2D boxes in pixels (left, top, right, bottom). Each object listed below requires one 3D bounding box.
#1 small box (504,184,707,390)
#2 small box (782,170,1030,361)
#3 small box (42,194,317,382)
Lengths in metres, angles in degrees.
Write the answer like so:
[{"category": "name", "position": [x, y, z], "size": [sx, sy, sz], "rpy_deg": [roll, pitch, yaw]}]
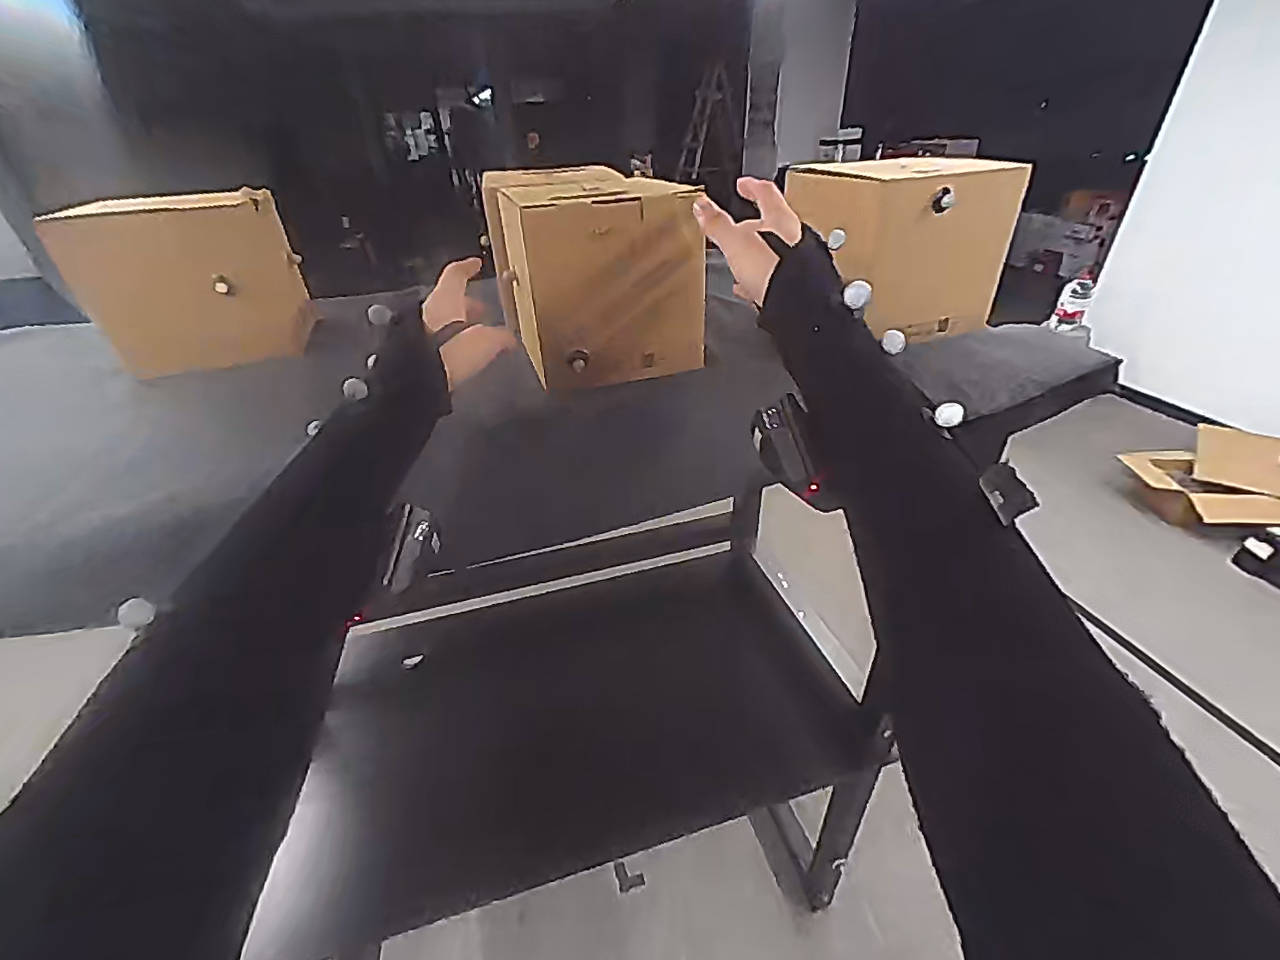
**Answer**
[{"category": "small box", "position": [-0.038, -0.202, 0.567], "size": [0.168, 0.176, 0.179], "rpy_deg": [-12, 34, -14]}, {"category": "small box", "position": [0.276, -0.246, 0.610], "size": [0.168, 0.176, 0.179], "rpy_deg": [-12, 34, -13]}, {"category": "small box", "position": [-0.510, -0.231, 0.641], "size": [0.179, 0.176, 0.168], "rpy_deg": [-13, 35, -15]}]
